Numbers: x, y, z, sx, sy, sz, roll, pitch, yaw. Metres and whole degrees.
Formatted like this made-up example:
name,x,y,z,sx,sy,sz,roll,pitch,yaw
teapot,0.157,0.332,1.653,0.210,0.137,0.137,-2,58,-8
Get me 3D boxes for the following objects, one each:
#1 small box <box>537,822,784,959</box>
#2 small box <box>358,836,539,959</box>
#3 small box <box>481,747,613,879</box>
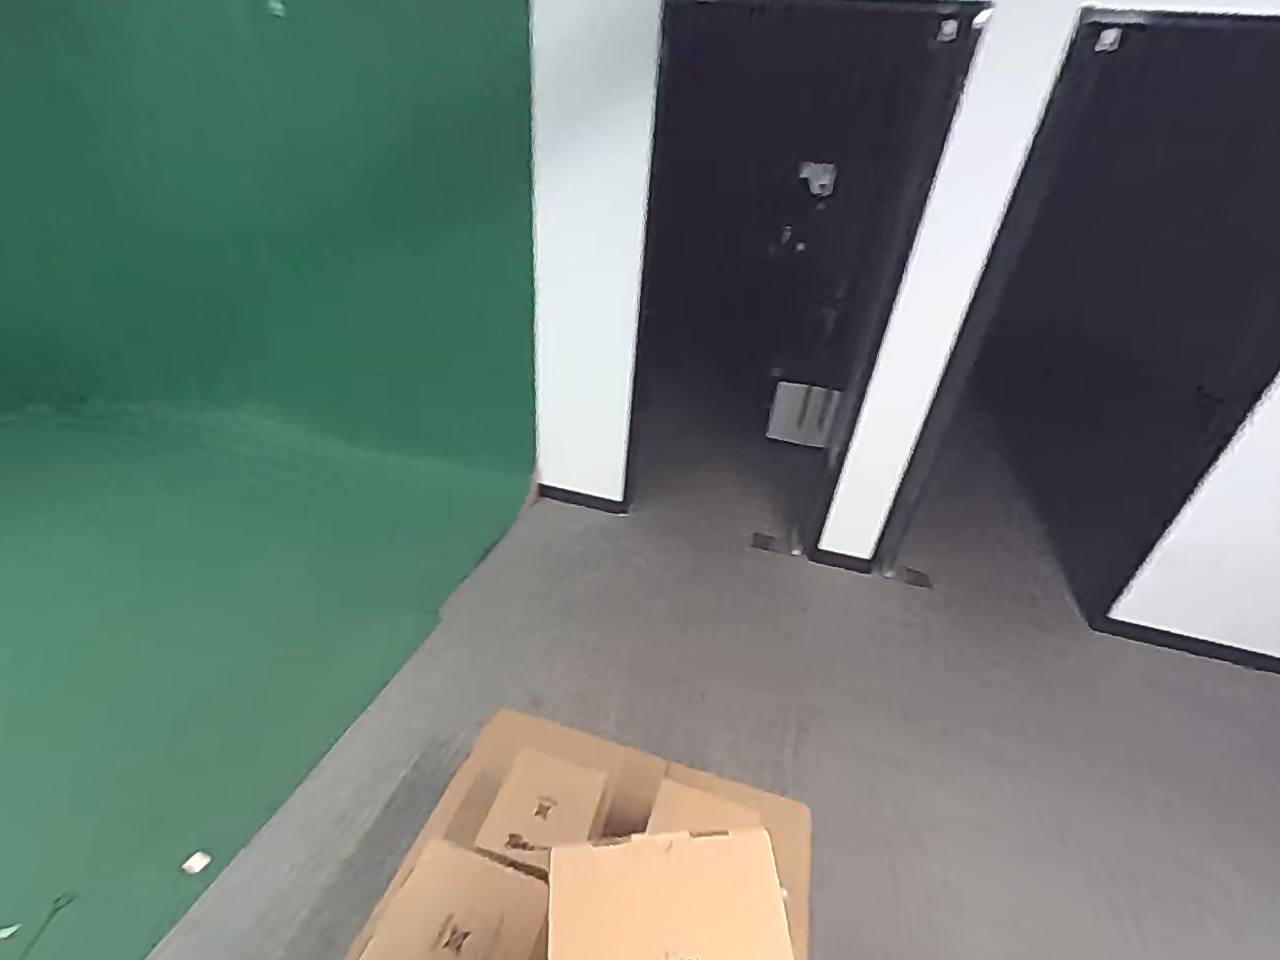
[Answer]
name,x,y,z,sx,sy,sz,roll,pitch,yaw
small box,0.012,0.379,0.405,0.168,0.176,0.179,-2,48,-6
small box,-0.209,0.577,0.642,0.179,0.176,0.168,13,33,14
small box,-0.152,0.604,0.924,0.168,0.176,0.179,10,29,12
